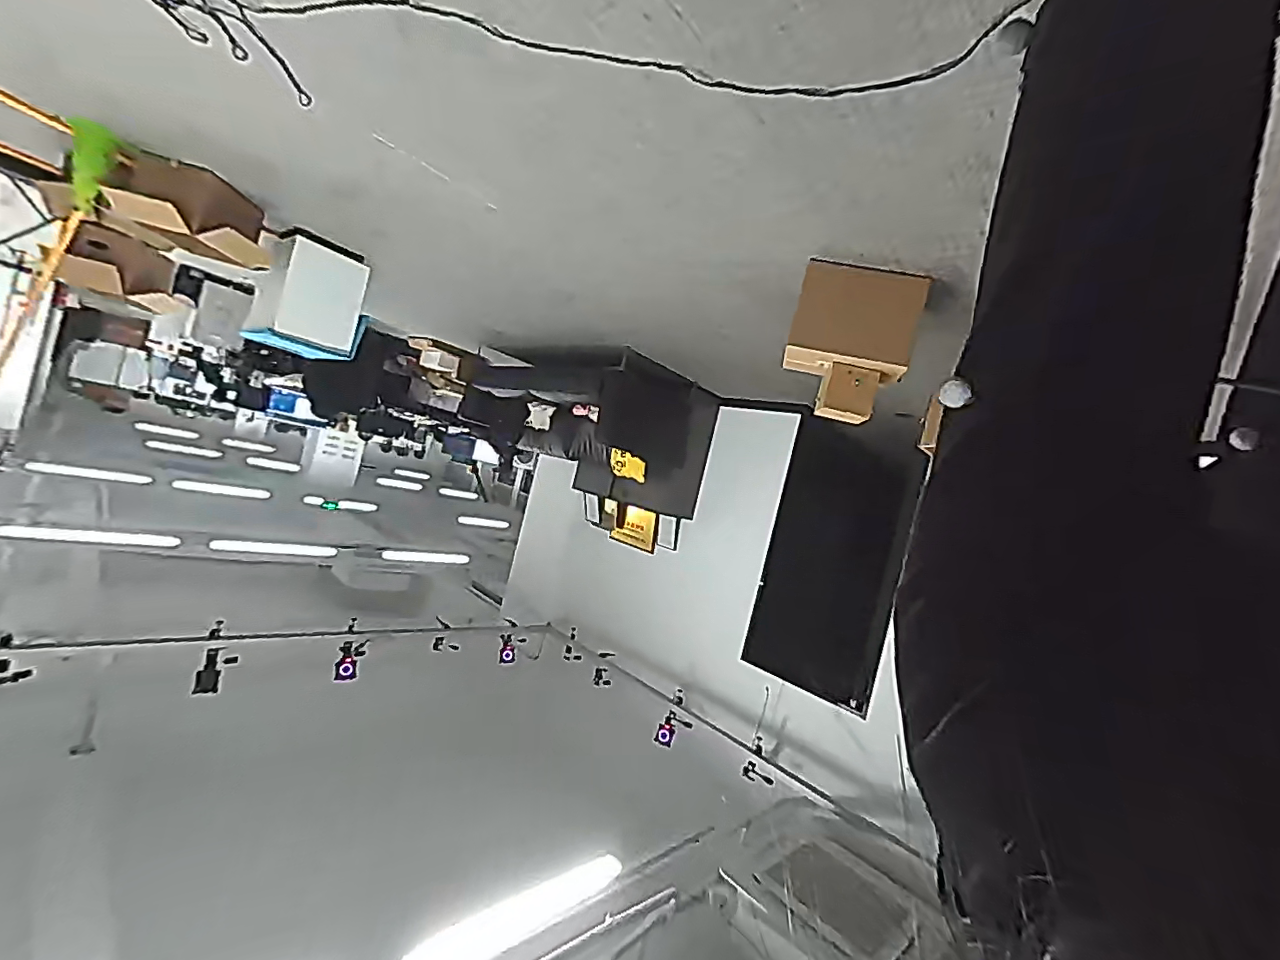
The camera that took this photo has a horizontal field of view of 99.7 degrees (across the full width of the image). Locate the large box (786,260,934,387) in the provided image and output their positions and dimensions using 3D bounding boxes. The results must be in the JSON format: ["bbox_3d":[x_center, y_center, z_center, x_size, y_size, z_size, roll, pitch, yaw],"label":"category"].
[{"bbox_3d":[0.772,-0.554,1.948,0.408,0.320,0.320,16,180,13],"label":"large box"}]

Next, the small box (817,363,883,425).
[{"bbox_3d":[0.755,-0.307,1.947,0.168,0.176,0.179,14,-179,9],"label":"small box"}]
